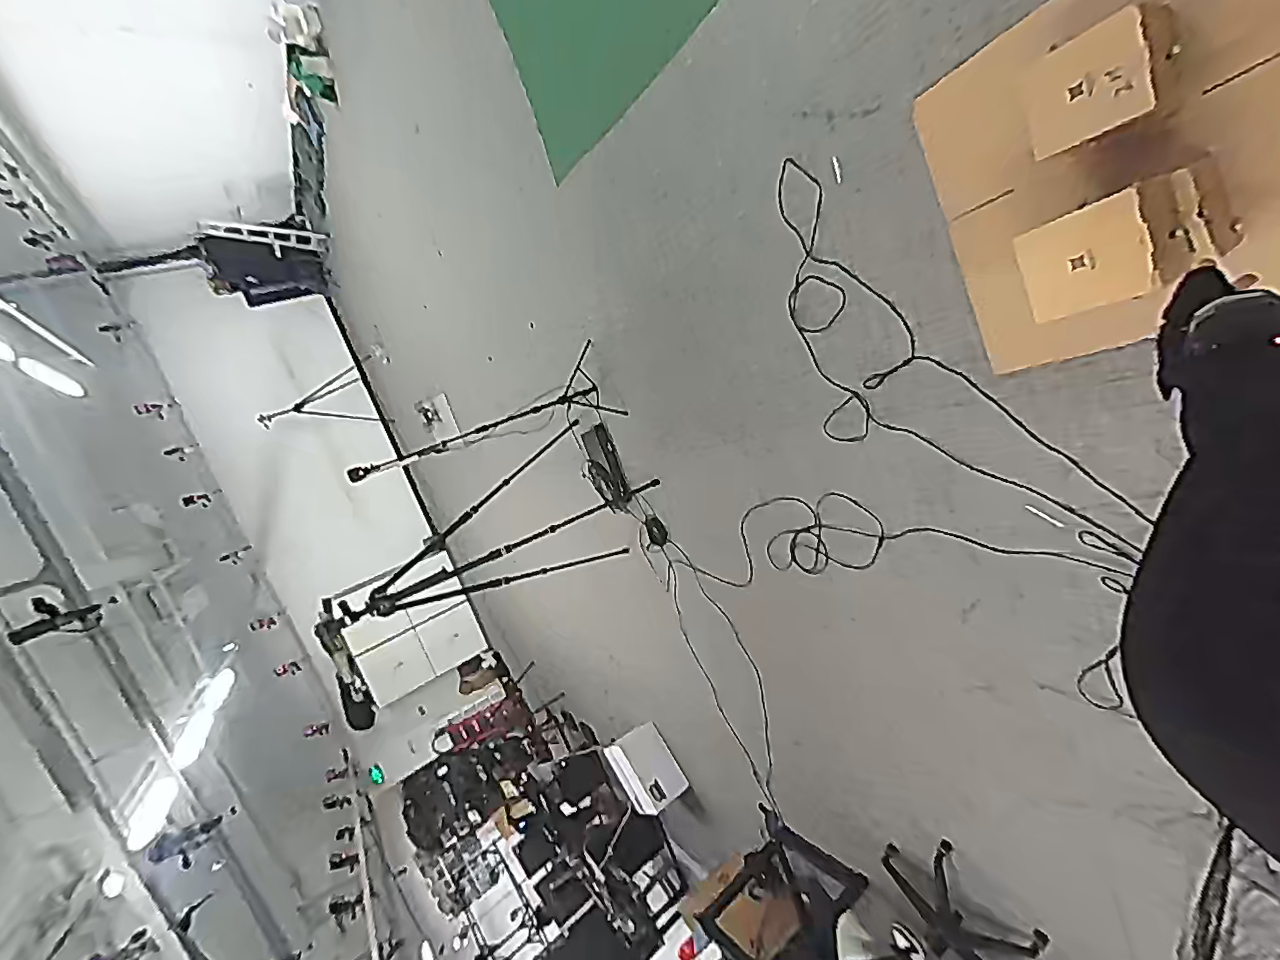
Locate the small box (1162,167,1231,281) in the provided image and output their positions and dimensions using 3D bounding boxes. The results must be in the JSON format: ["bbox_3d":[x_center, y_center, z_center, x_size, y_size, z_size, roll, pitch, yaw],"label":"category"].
[{"bbox_3d":[0.950,-0.453,1.006,0.179,0.176,0.168,-15,99,60],"label":"small box"}]

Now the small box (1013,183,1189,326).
[{"bbox_3d":[0.807,-0.392,0.949,0.179,0.176,0.168,-10,103,59],"label":"small box"}]

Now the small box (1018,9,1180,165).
[{"bbox_3d":[0.839,-0.708,0.990,0.179,0.176,0.168,-4,110,57],"label":"small box"}]
